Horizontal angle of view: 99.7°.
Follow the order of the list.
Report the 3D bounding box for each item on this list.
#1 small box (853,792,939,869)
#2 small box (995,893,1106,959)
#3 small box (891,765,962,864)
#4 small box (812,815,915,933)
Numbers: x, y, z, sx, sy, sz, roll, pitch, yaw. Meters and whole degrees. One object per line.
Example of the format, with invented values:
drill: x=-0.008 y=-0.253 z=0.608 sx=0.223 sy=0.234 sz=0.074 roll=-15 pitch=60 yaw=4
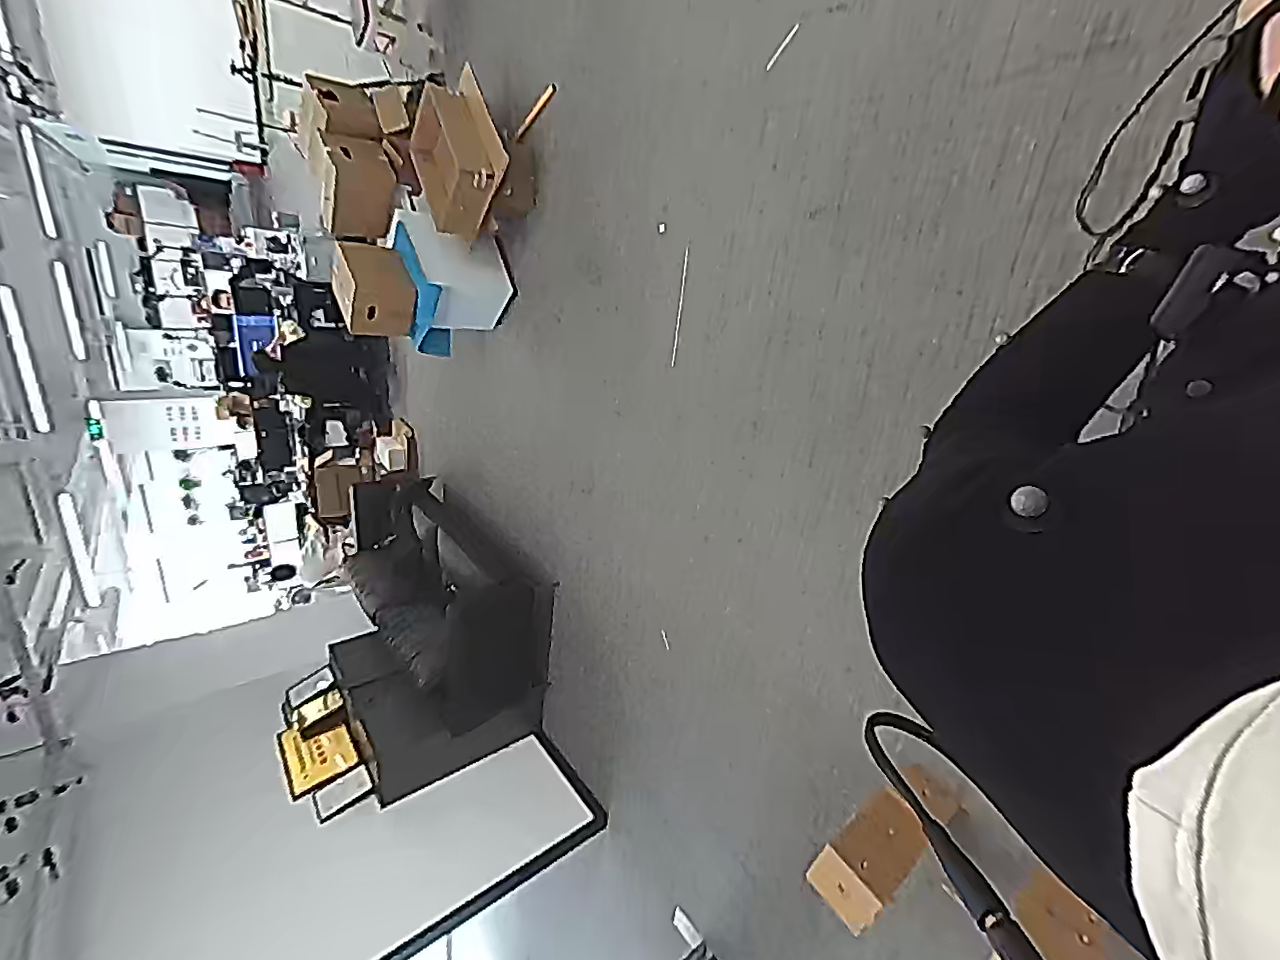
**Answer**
small box: x=0.740 y=1.064 z=1.601 sx=0.179 sy=0.176 sz=0.168 roll=36 pitch=124 yaw=41
small box: x=0.988 y=1.165 z=1.308 sx=0.168 sy=0.176 sz=0.179 roll=26 pitch=119 yaw=46
small box: x=0.873 y=1.038 z=1.691 sx=0.168 sy=0.176 sz=0.179 roll=39 pitch=125 yaw=41
small box: x=0.618 y=1.079 z=1.493 sx=0.179 sy=0.176 sz=0.168 roll=41 pitch=127 yaw=39
